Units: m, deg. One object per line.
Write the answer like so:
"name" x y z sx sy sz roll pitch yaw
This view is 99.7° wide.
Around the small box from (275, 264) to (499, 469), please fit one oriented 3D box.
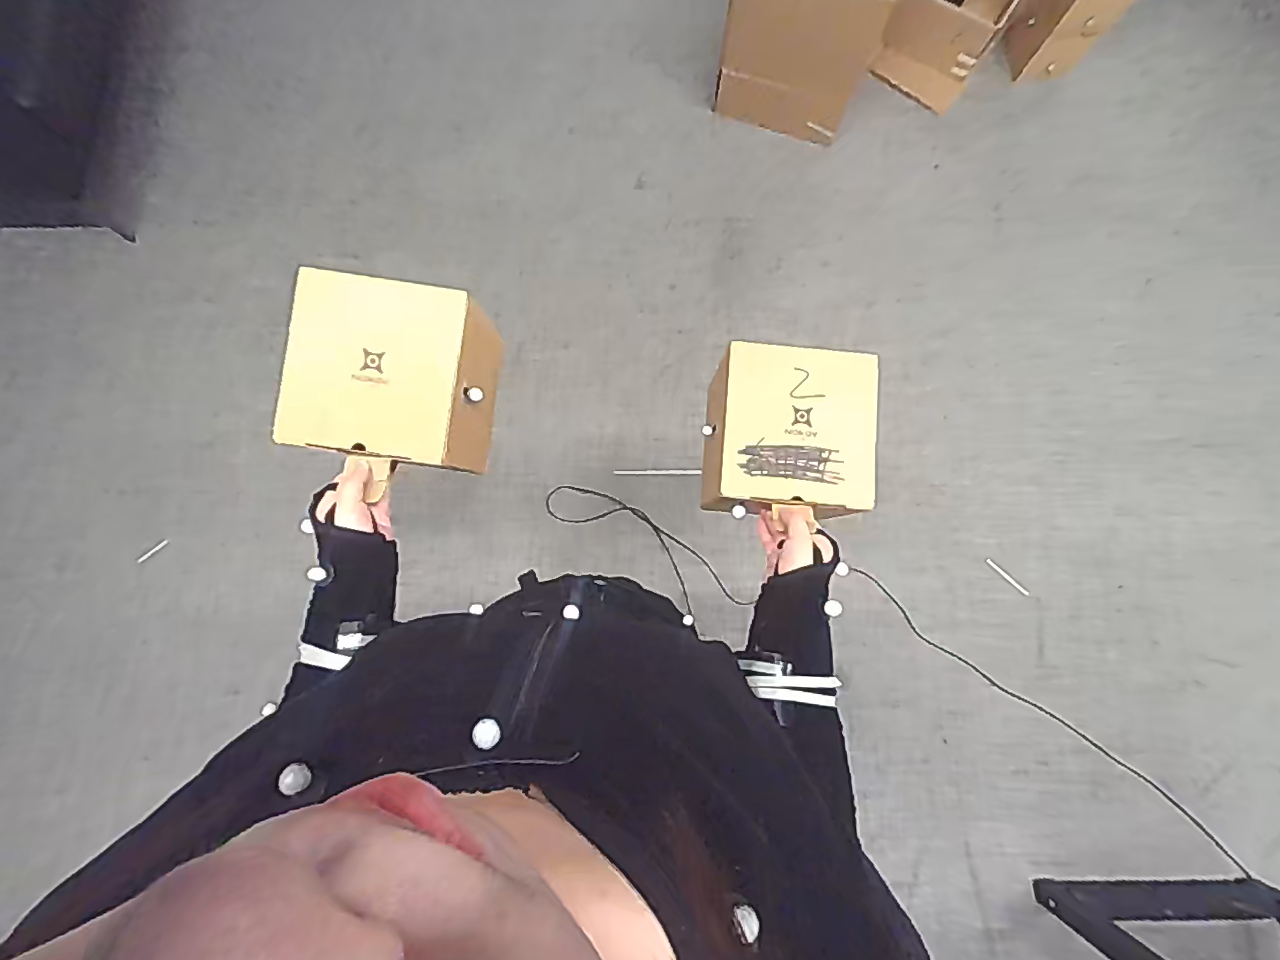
"small box" -0.263 -0.111 0.605 0.168 0.176 0.179 9 90 -3
